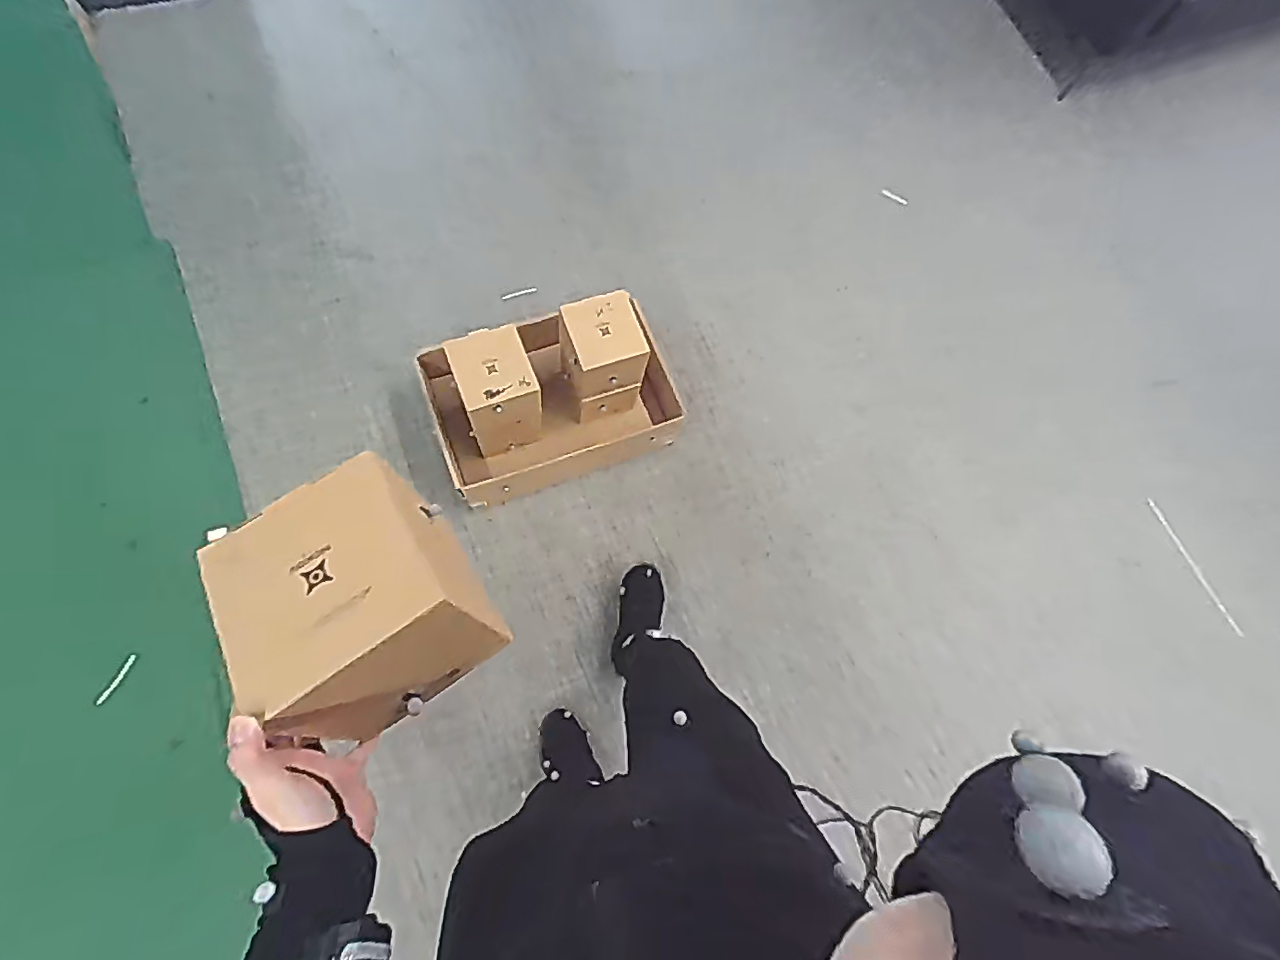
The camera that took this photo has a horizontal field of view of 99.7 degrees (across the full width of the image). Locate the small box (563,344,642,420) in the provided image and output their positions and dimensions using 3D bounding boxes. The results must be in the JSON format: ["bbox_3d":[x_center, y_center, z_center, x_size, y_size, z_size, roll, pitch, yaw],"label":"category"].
[{"bbox_3d":[-0.105,-0.280,1.483,0.168,0.176,0.179,-19,78,-11],"label":"small box"}]

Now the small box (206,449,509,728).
[{"bbox_3d":[-0.253,0.110,0.513,0.168,0.176,0.179,-33,63,-10],"label":"small box"}]

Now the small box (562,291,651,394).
[{"bbox_3d":[-0.085,-0.326,1.325,0.168,0.176,0.179,-18,77,-11],"label":"small box"}]

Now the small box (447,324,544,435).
[{"bbox_3d":[-0.331,-0.229,1.263,0.168,0.176,0.179,-20,78,-13],"label":"small box"}]
